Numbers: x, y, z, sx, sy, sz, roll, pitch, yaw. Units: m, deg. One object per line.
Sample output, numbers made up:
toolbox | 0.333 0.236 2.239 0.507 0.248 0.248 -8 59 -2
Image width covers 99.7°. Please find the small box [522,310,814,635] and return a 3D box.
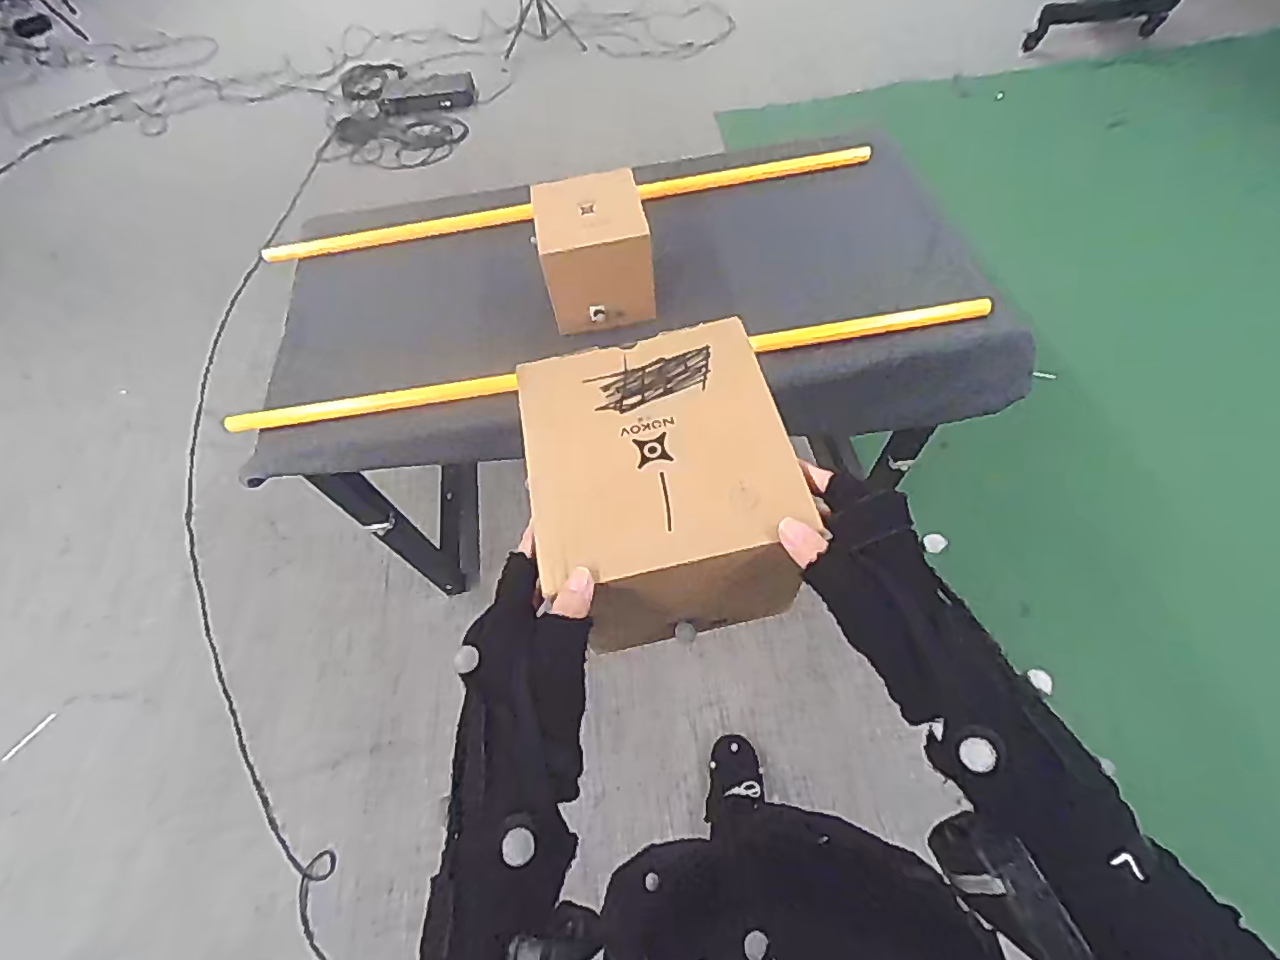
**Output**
small box | 0.017 0.003 0.424 0.168 0.176 0.179 -13 61 1

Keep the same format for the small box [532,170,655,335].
small box | -0.073 -0.371 0.894 0.168 0.176 0.179 -12 61 -1
